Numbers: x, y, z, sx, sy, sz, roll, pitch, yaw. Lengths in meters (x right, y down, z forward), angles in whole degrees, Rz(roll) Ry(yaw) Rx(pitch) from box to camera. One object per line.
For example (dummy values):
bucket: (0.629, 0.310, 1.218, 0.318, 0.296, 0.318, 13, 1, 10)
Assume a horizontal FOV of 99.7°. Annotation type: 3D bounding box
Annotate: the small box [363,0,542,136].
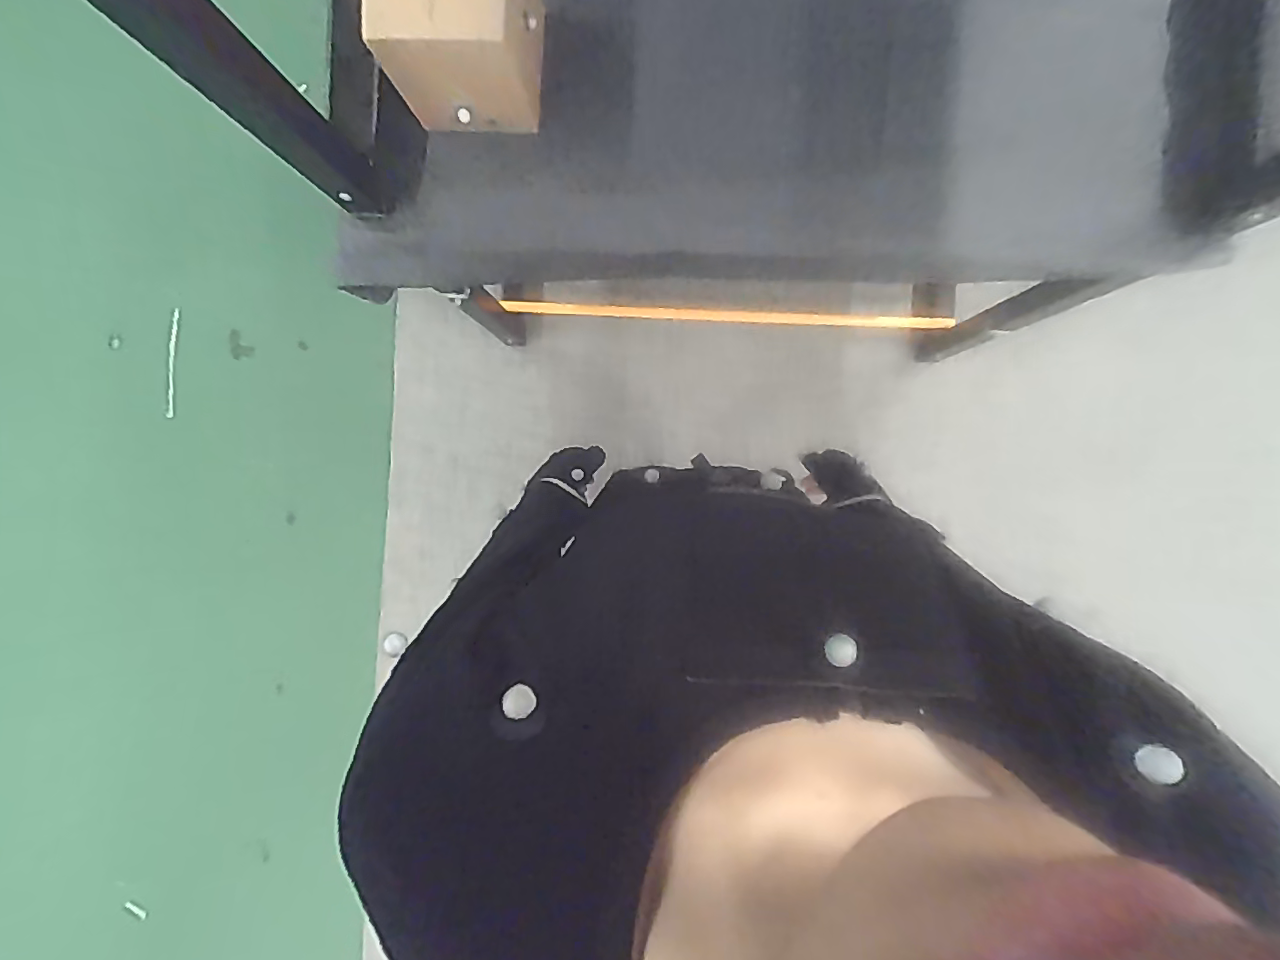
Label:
small box: (-0.224, -0.580, 0.688, 0.168, 0.176, 0.179, 3, 91, 2)
